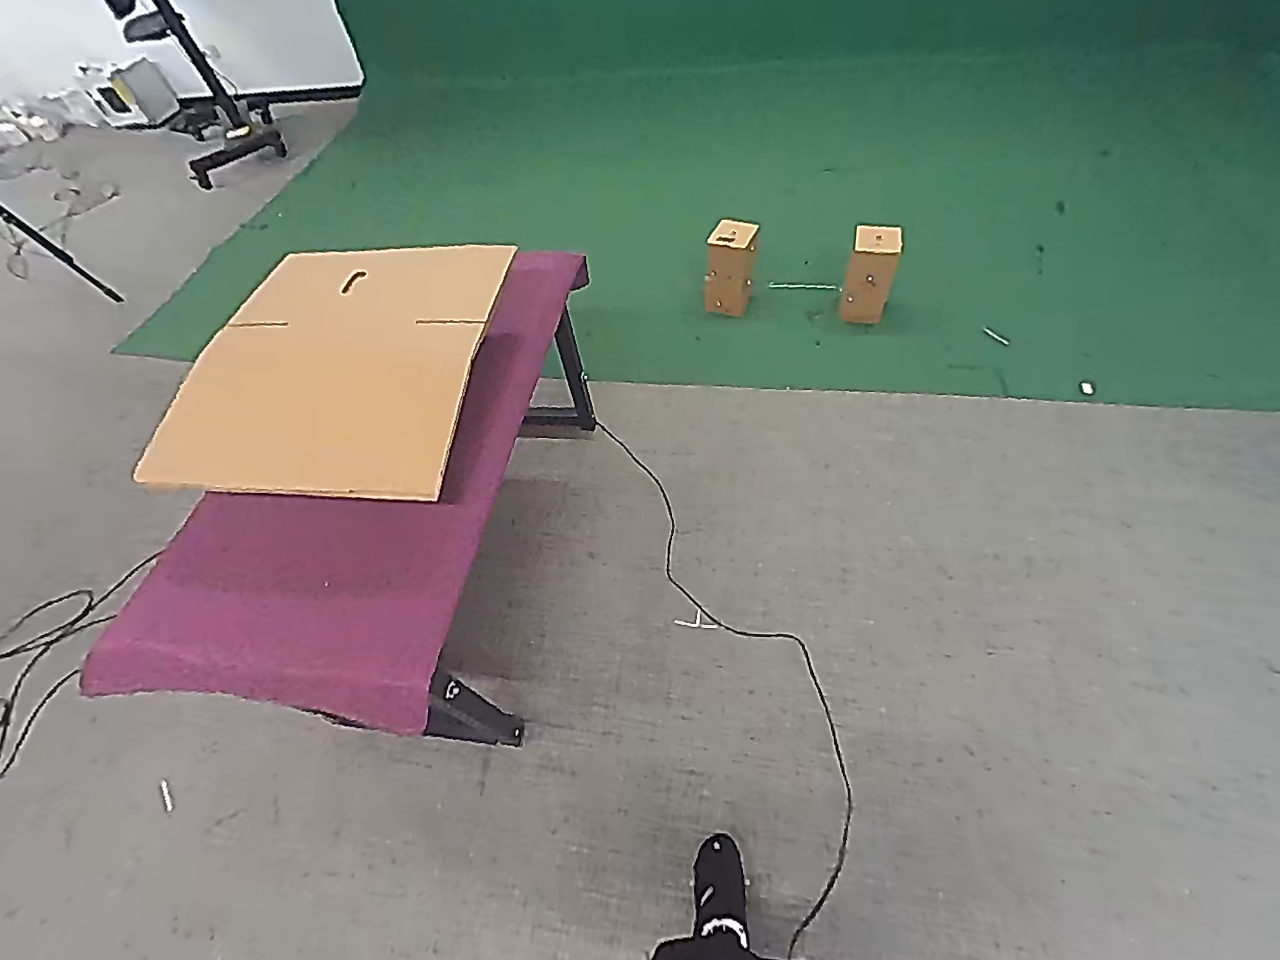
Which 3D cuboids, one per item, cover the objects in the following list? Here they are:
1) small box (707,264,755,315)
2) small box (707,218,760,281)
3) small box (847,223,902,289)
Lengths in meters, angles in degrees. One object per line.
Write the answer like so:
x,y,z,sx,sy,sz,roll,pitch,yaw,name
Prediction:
0.401,-0.867,2.402,0.168,0.176,0.179,17,61,18,small box
0.393,-0.965,2.270,0.168,0.176,0.179,20,60,19,small box
0.929,-0.889,2.143,0.168,0.176,0.179,10,57,14,small box
